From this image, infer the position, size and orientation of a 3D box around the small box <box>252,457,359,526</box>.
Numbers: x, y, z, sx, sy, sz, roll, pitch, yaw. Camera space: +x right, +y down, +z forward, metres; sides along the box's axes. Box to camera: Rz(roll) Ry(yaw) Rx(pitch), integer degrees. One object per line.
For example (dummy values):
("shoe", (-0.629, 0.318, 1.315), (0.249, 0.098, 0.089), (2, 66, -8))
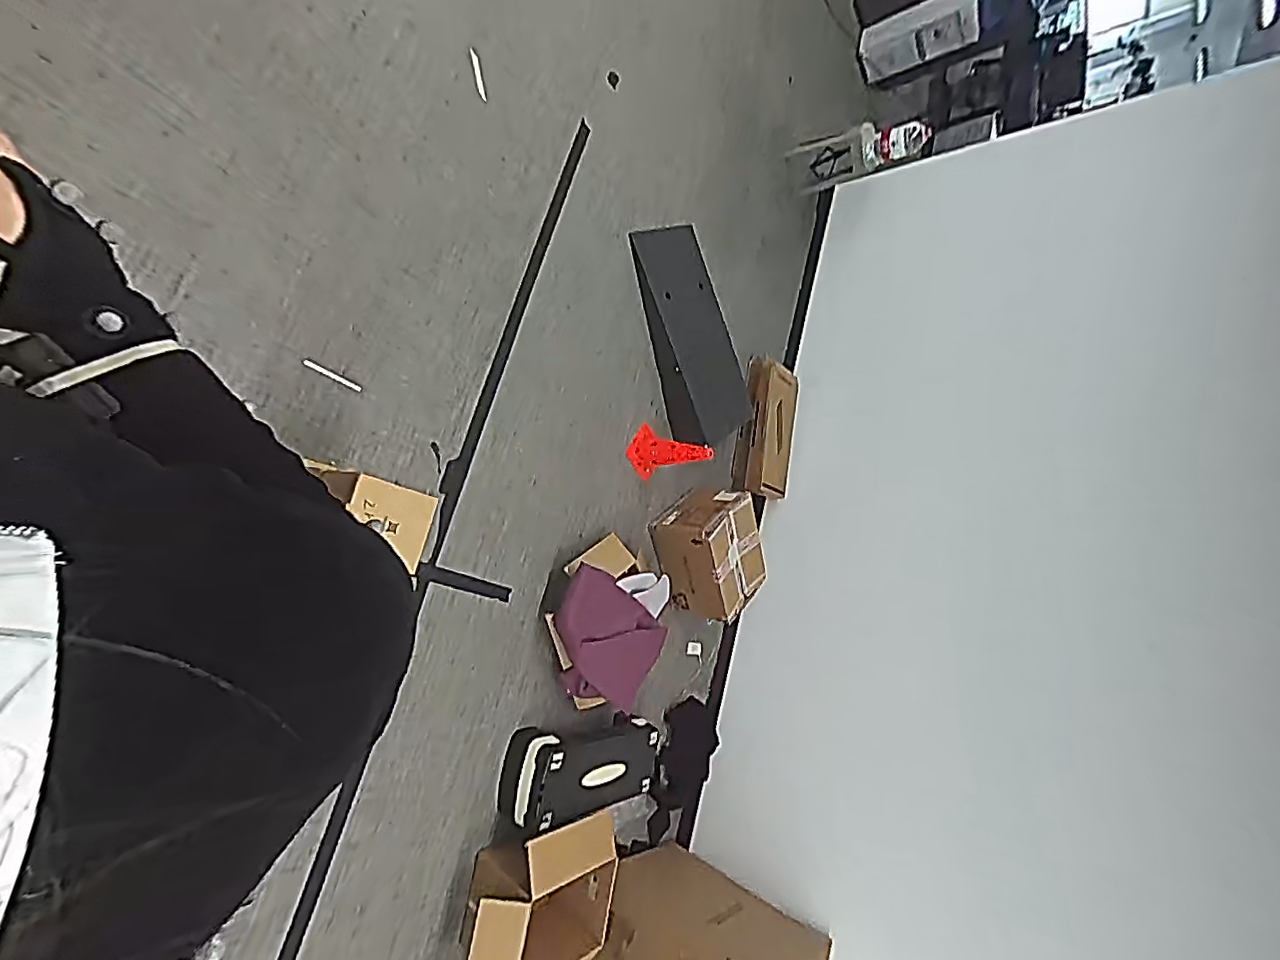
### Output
("small box", (-0.810, 0.041, 1.328), (0.179, 0.176, 0.168), (22, 75, -48))

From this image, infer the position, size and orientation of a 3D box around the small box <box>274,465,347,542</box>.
("small box", (-0.689, 0.067, 1.219), (0.179, 0.176, 0.168), (21, 77, -49))

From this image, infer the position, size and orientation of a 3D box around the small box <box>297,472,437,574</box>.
("small box", (-0.561, 0.085, 1.115), (0.179, 0.176, 0.168), (28, 70, -48))
